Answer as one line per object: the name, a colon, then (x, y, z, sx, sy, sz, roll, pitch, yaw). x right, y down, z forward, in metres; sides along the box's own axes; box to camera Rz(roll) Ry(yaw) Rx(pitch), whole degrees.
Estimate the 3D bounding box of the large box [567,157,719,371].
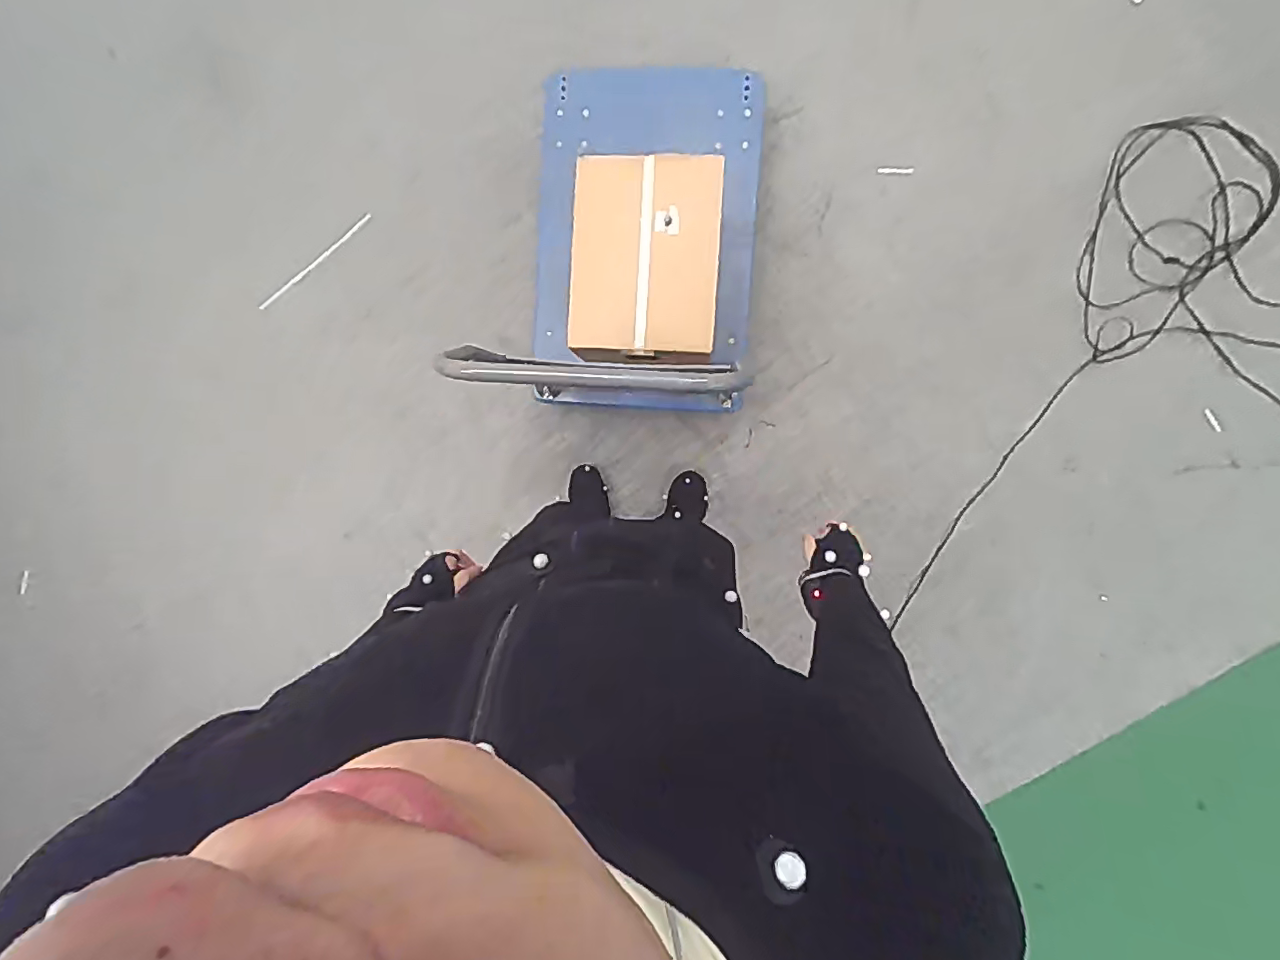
large box: (0.020, -0.488, 1.301, 0.320, 0.320, 0.408, 4, 92, 5)
